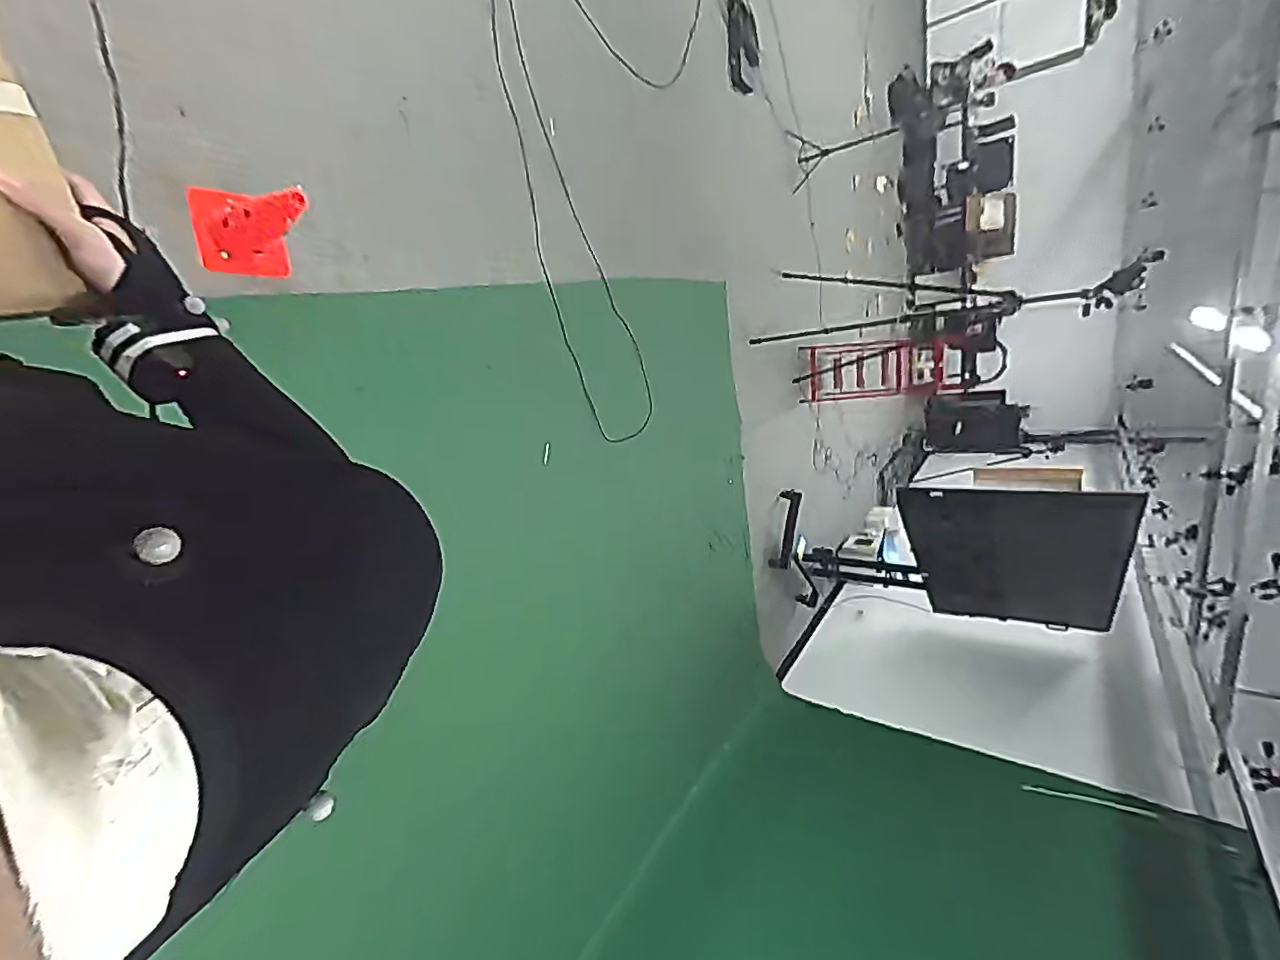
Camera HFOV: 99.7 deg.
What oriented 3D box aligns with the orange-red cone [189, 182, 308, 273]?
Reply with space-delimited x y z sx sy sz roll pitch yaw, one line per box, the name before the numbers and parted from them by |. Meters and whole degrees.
orange-red cone | -0.893 -0.637 1.296 0.199 0.360 0.198 -18 108 -53
